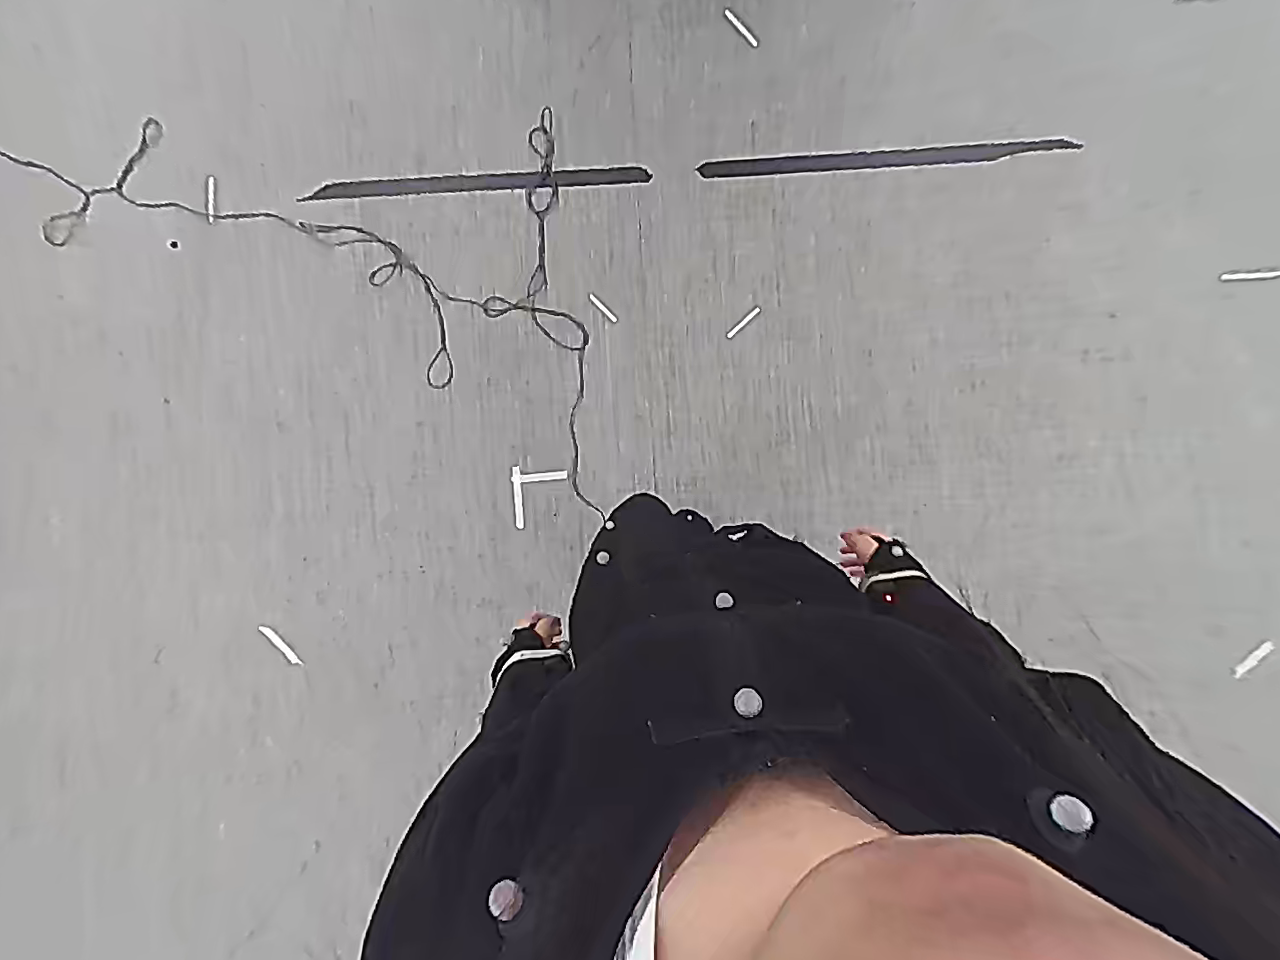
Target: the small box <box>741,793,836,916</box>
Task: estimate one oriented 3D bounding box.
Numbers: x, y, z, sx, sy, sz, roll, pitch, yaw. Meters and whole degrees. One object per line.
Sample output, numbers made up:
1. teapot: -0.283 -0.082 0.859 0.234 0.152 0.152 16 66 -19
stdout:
1. small box: 0.322 0.824 1.205 0.179 0.176 0.168 -2 88 2
